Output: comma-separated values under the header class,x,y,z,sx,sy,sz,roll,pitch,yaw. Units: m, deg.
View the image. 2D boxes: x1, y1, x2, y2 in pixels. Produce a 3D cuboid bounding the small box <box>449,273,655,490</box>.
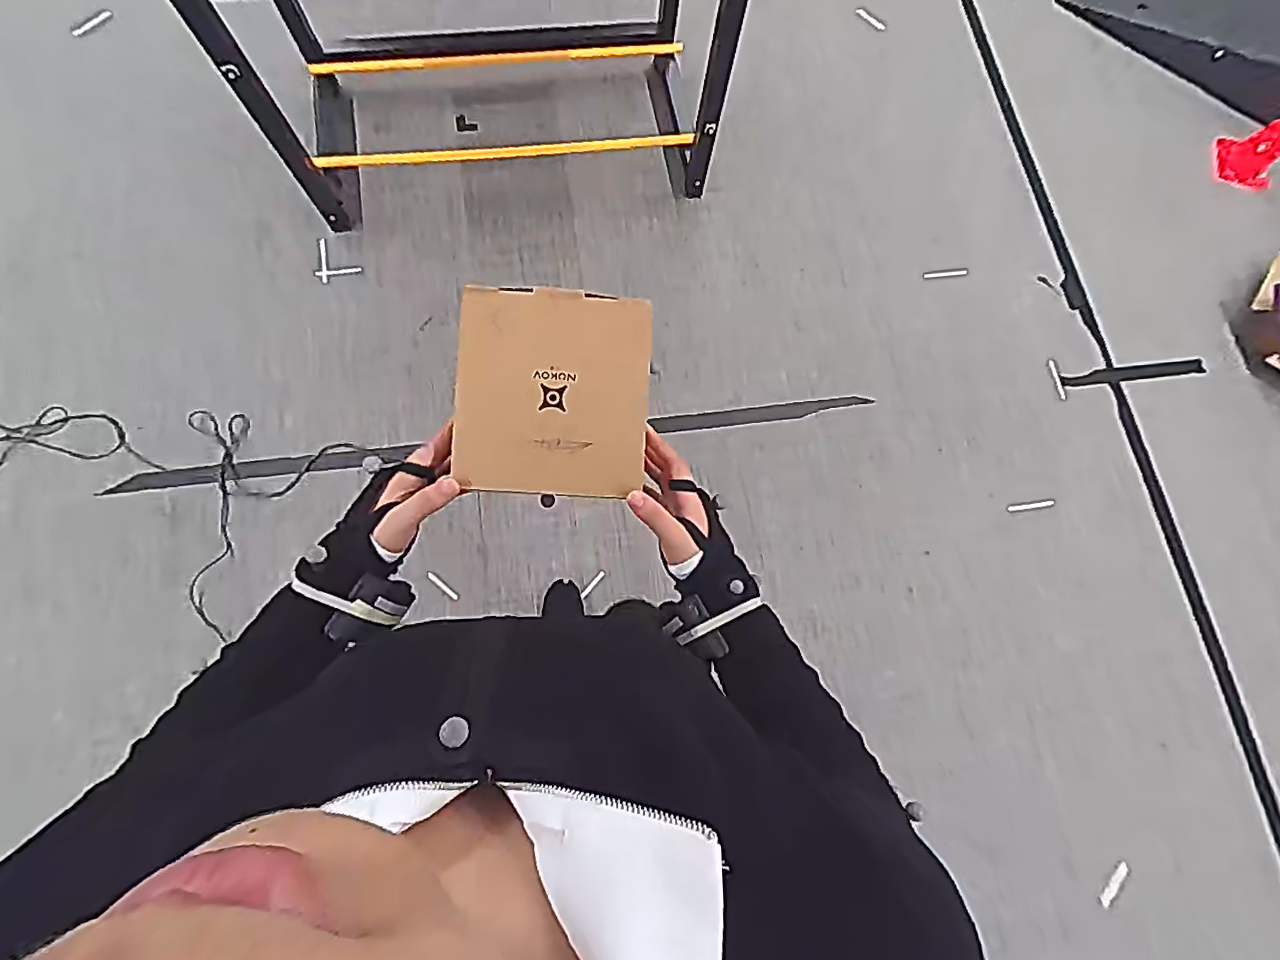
class,x,y,z,sx,sy,sz,roll,pitch,yaw
small box,-0.080,-0.083,0.541,0.168,0.176,0.179,4,90,-4
